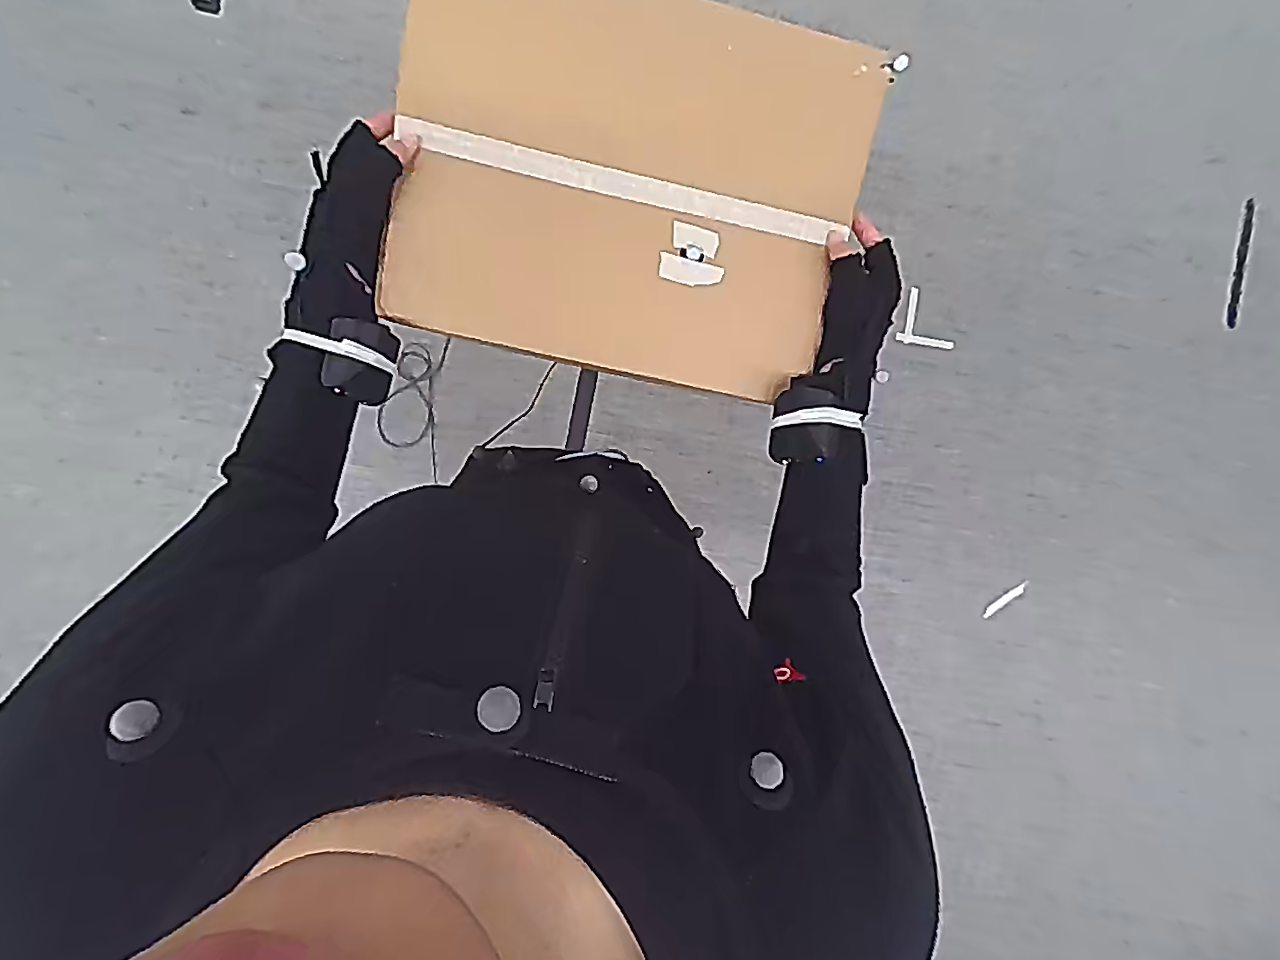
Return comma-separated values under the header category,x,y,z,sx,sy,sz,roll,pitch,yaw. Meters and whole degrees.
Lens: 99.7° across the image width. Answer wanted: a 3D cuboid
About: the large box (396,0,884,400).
category,x,y,z,sx,sy,sz,roll,pitch,yaw
large box,-0.015,-0.288,0.634,0.408,0.320,0.320,11,101,-7
